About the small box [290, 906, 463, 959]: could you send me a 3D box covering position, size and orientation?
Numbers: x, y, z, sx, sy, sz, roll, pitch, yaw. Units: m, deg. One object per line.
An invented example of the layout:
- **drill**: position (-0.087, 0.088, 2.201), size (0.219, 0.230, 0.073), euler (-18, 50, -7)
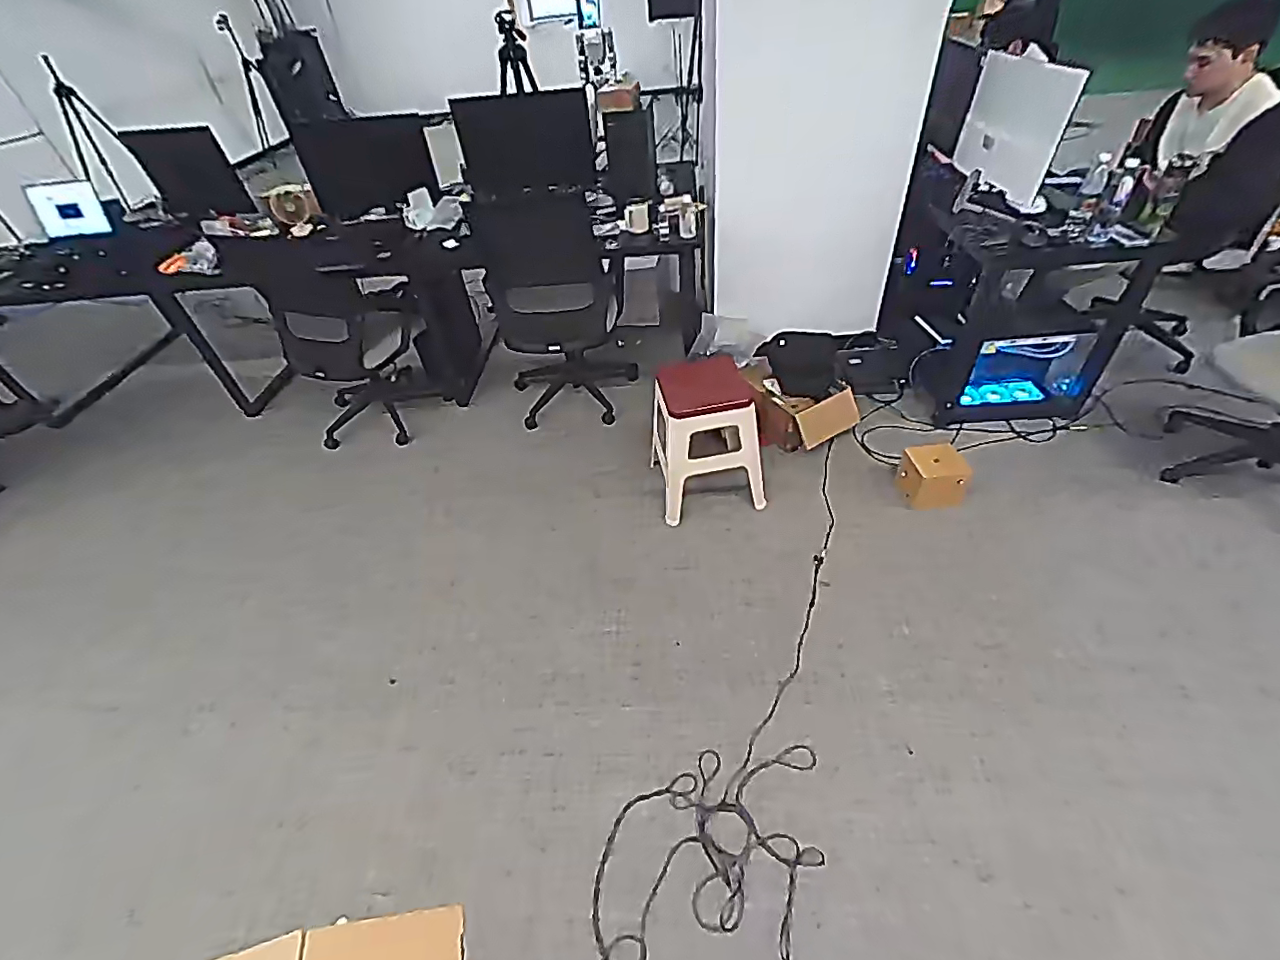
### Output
- **small box**: position (-0.306, 0.609, 0.591), size (0.179, 0.176, 0.168), euler (18, 28, -31)
